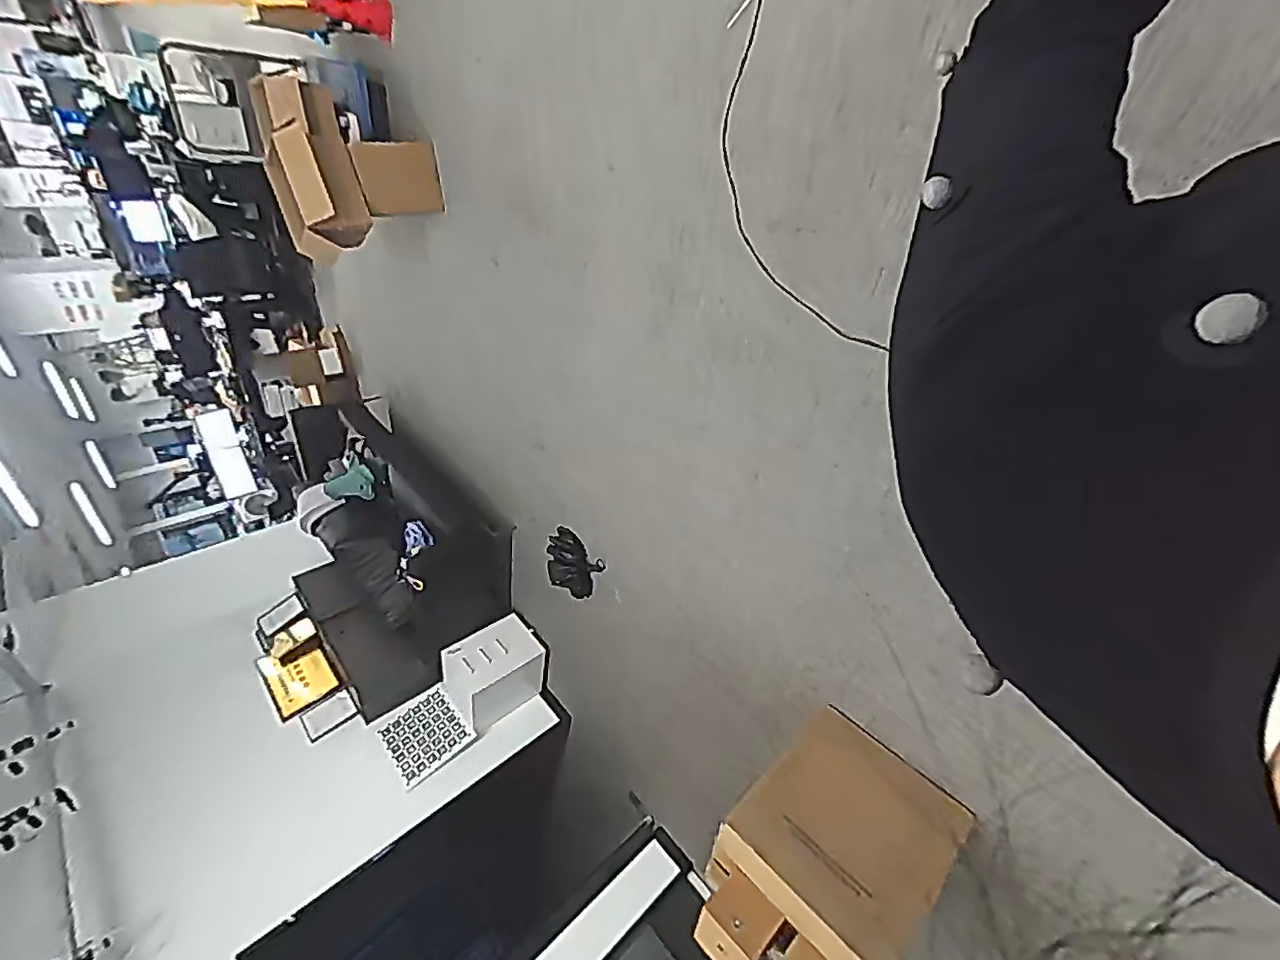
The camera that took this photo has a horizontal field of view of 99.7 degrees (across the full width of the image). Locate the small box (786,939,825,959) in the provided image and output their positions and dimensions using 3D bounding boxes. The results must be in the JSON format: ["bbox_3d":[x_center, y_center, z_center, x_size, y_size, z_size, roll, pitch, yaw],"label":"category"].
[{"bbox_3d":[0.443,1.388,1.432,0.179,0.176,0.168,31,124,37],"label":"small box"}]

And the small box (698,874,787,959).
[{"bbox_3d":[0.296,1.301,1.561,0.179,0.176,0.168,30,123,39],"label":"small box"}]
